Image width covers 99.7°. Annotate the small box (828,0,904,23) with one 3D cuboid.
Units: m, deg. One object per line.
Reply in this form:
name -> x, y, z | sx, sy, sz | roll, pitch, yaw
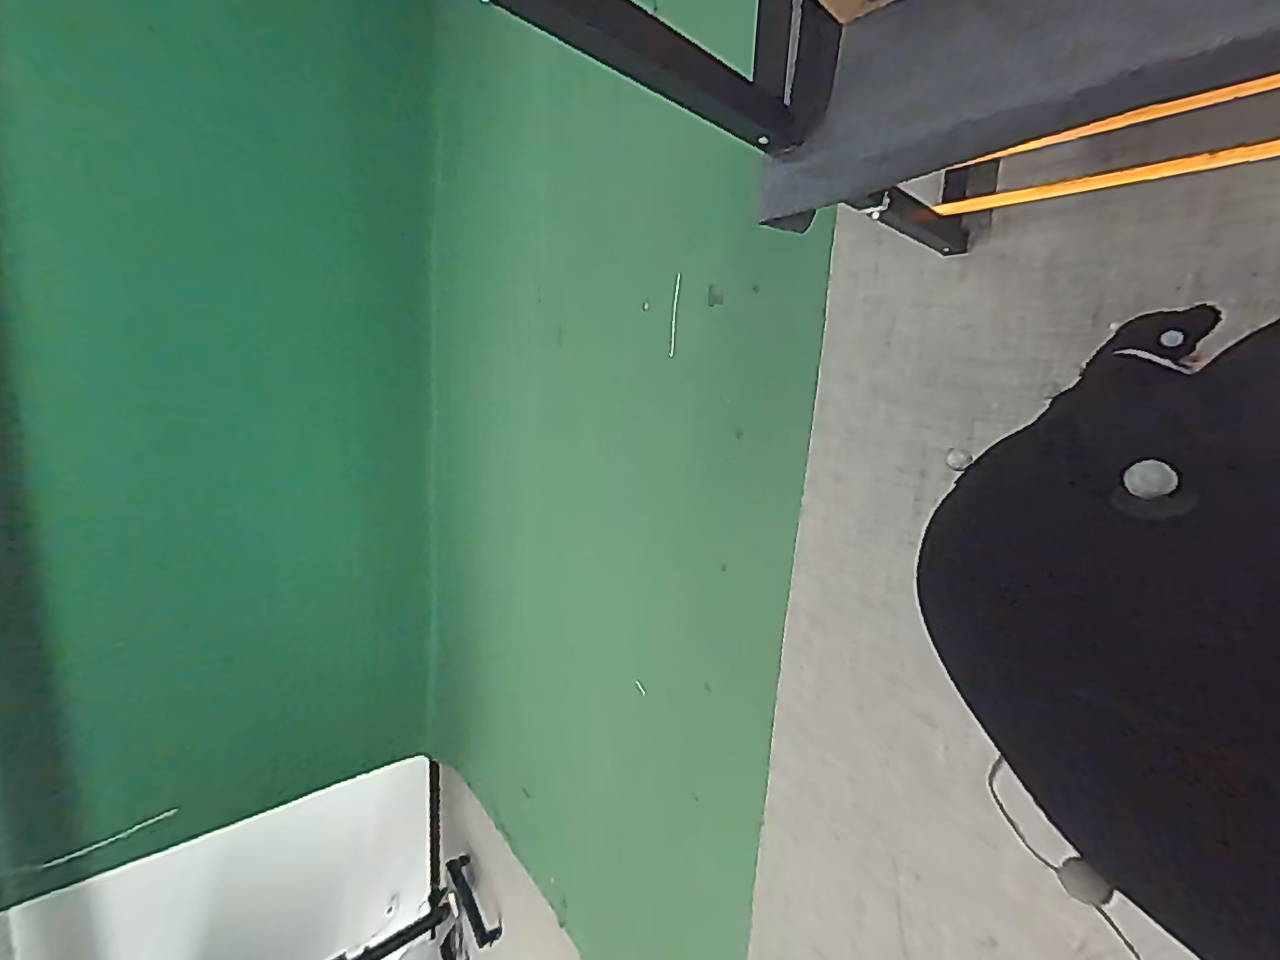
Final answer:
small box -> 0.306, -0.742, 0.681 | 0.168, 0.176, 0.179 | 15, 106, 48
